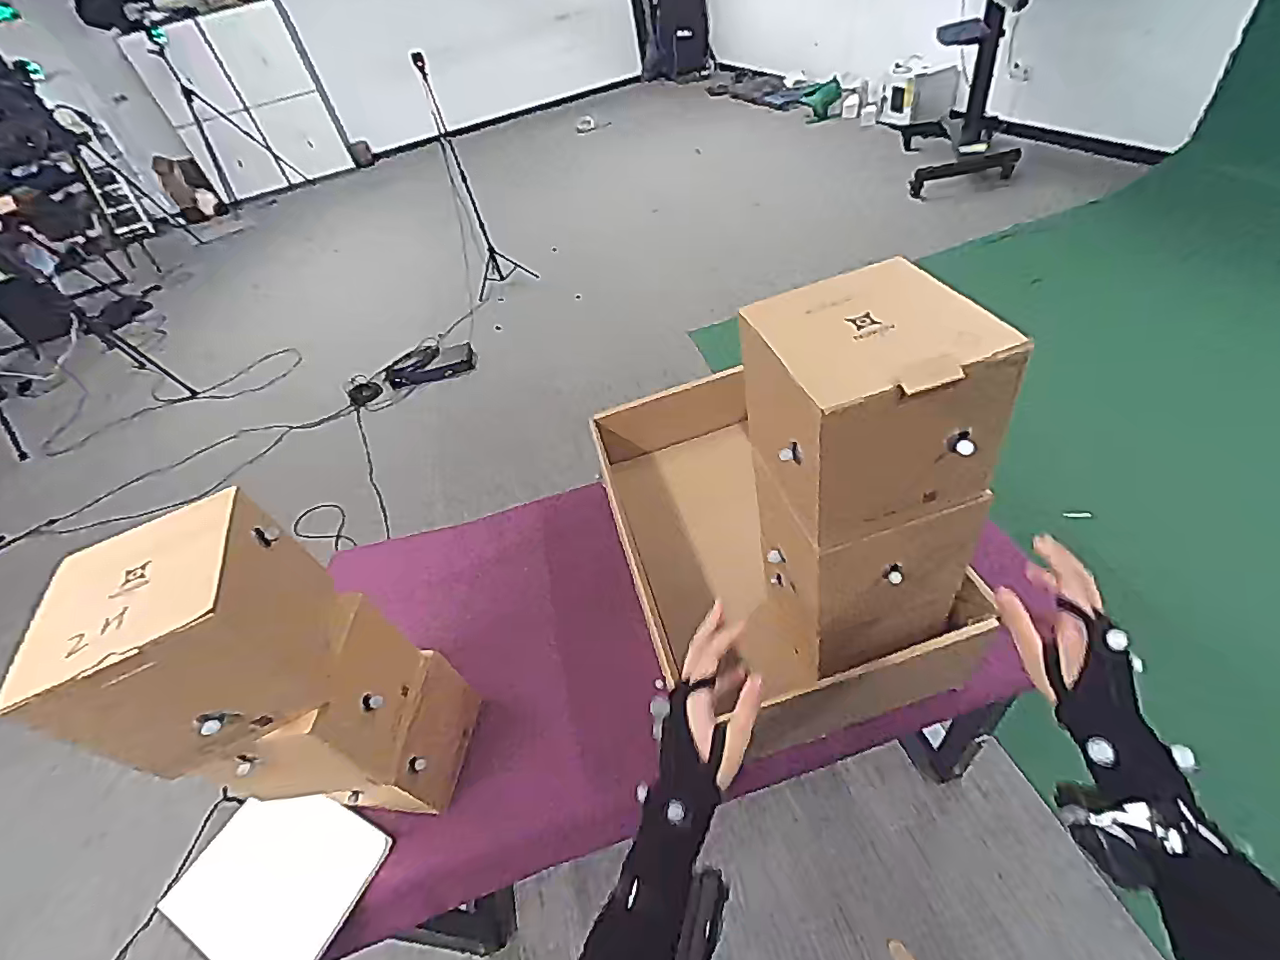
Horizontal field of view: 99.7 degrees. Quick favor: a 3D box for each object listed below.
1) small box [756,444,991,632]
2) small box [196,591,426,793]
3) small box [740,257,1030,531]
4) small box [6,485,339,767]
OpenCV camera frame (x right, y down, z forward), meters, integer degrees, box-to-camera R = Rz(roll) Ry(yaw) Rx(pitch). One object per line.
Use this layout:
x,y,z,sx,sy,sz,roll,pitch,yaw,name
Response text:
0.245,0.042,0.612,0.179,0.176,0.168,-19,44,0,small box
-0.386,0.256,0.648,0.179,0.176,0.168,-10,44,7,small box
0.206,-0.073,0.504,0.168,0.176,0.179,-18,43,0,small box
-0.424,0.143,0.535,0.168,0.176,0.179,-26,45,-9,small box
